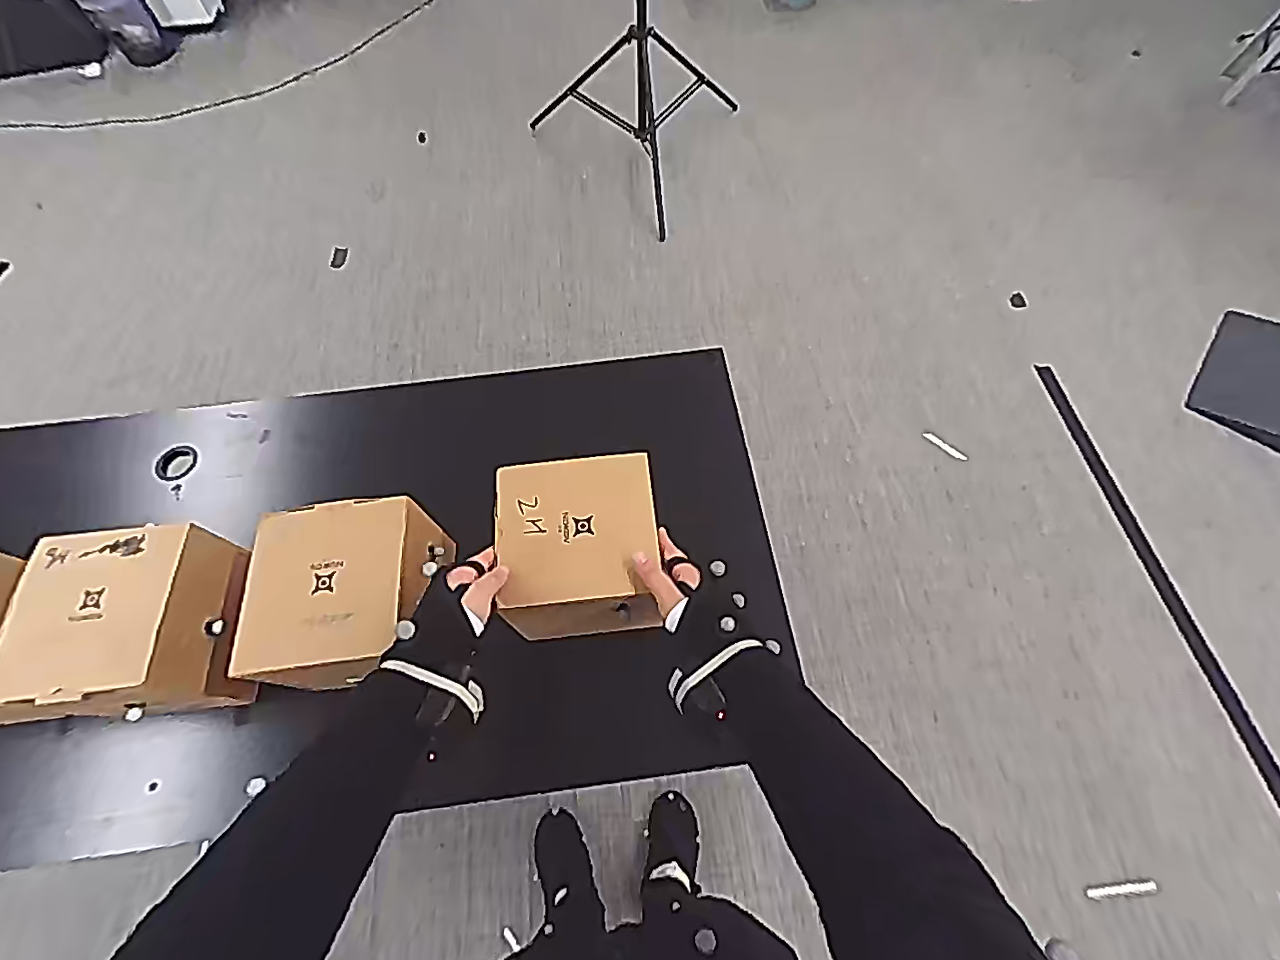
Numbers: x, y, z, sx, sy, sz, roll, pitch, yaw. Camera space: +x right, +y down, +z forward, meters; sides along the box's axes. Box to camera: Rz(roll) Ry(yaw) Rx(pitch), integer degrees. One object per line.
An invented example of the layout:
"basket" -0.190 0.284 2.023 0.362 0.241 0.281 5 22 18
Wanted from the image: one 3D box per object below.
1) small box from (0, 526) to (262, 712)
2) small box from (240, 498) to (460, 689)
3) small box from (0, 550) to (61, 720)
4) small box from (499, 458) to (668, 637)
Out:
"small box" -0.560 0.170 0.632 0.168 0.176 0.179 -6 64 -3
"small box" -0.323 0.141 0.644 0.168 0.176 0.179 -8 65 -1
"small box" -0.791 0.188 0.627 0.179 0.176 0.168 -6 64 -3
"small box" -0.064 0.089 0.660 0.179 0.176 0.168 -6 64 -1
